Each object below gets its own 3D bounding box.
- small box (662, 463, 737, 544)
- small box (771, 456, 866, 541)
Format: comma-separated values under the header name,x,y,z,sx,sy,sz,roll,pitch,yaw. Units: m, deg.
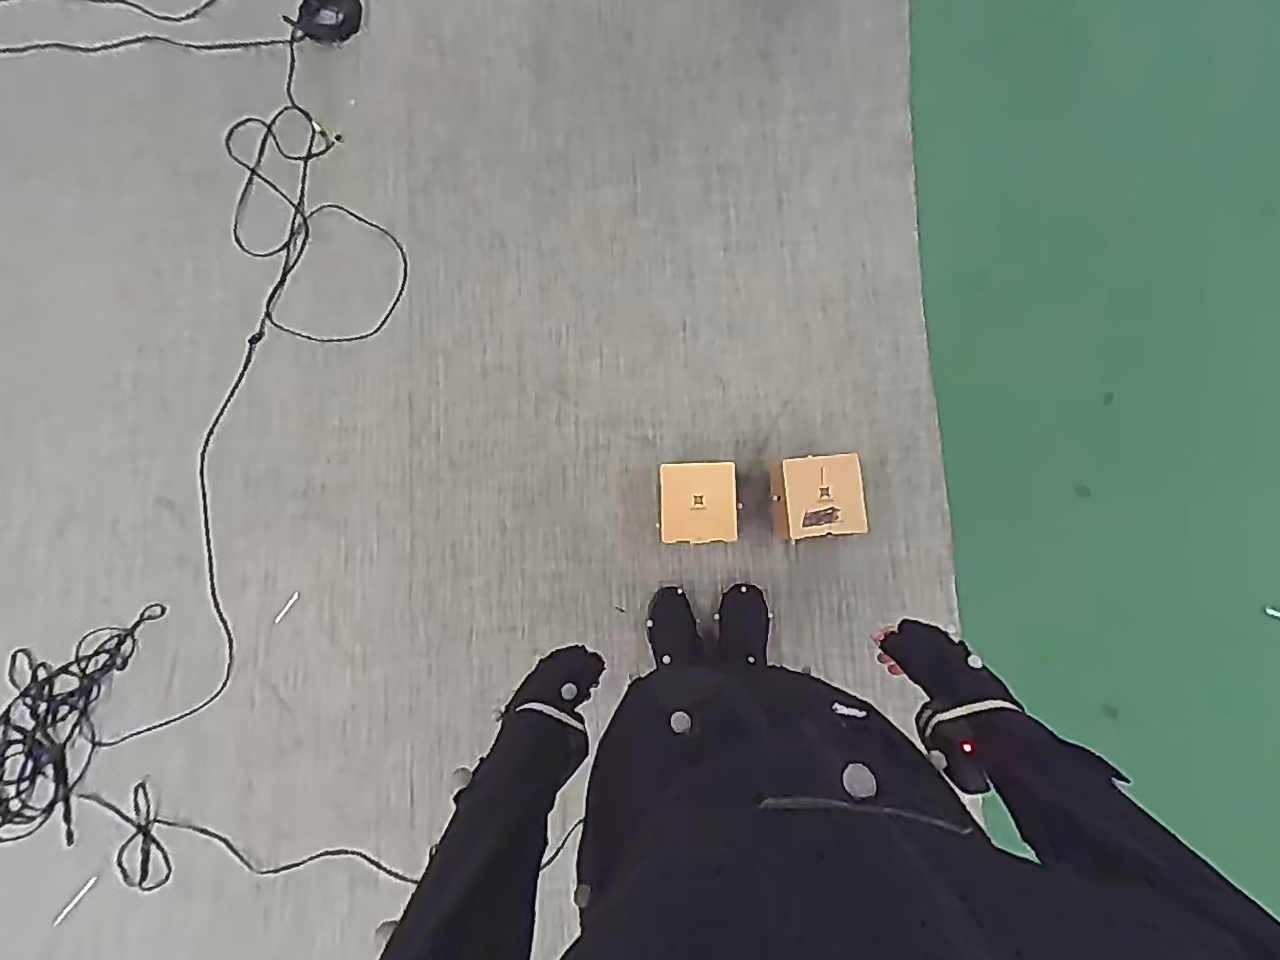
name,x,y,z,sx,sy,sz,roll,pitch,yaw
small box,0.133,0.059,1.259,0.168,0.176,0.179,-1,84,4
small box,0.401,0.047,1.239,0.168,0.176,0.179,-4,83,4
